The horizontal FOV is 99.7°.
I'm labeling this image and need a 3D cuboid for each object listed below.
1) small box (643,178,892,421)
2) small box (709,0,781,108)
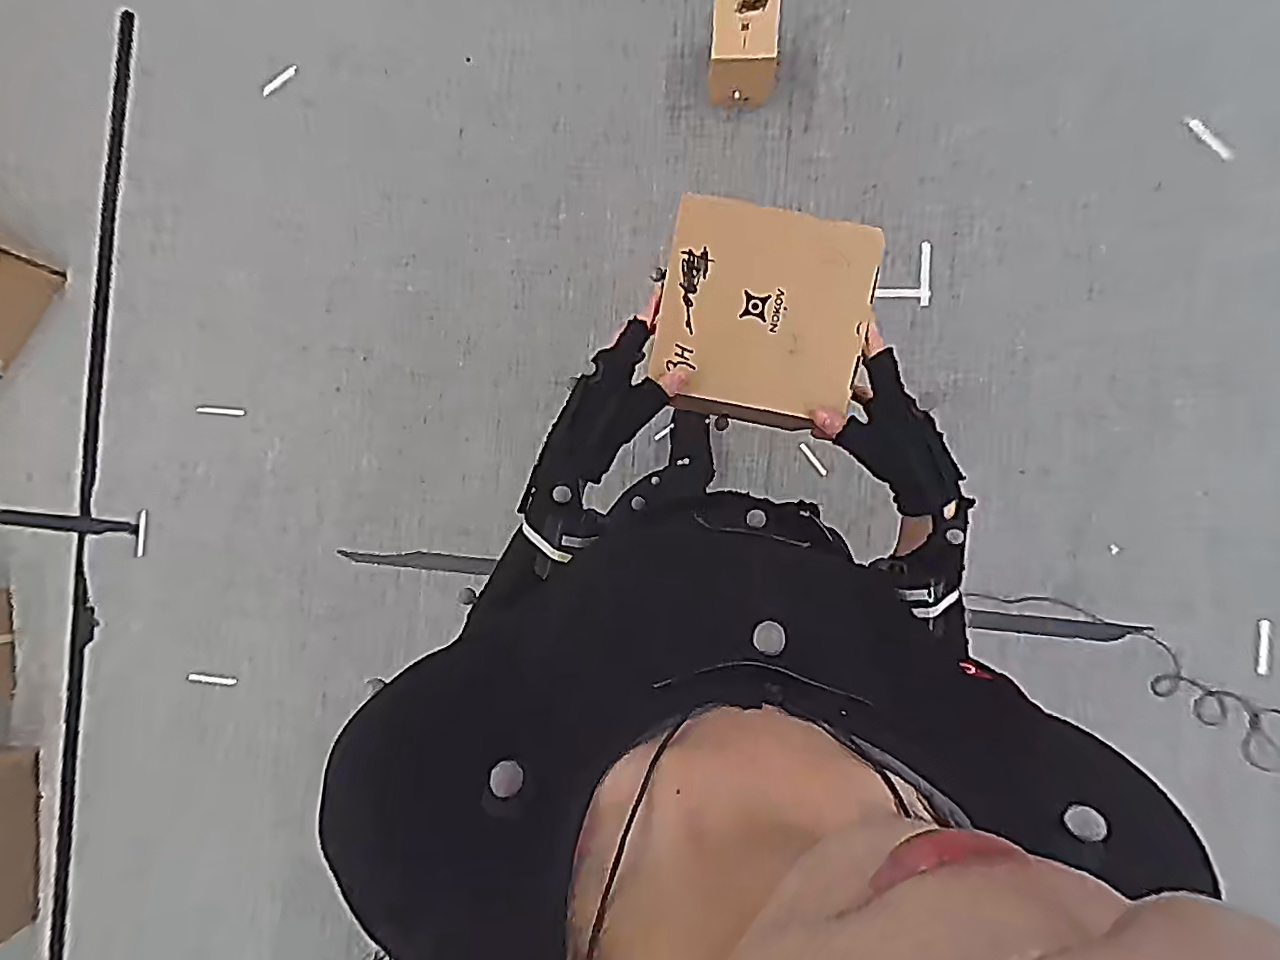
[{"bbox_3d":[0.104,-0.154,0.524,0.179,0.176,0.168,12,93,-1],"label":"small box"},{"bbox_3d":[0.273,-1.134,1.437,0.168,0.176,0.179,3,90,5],"label":"small box"}]
